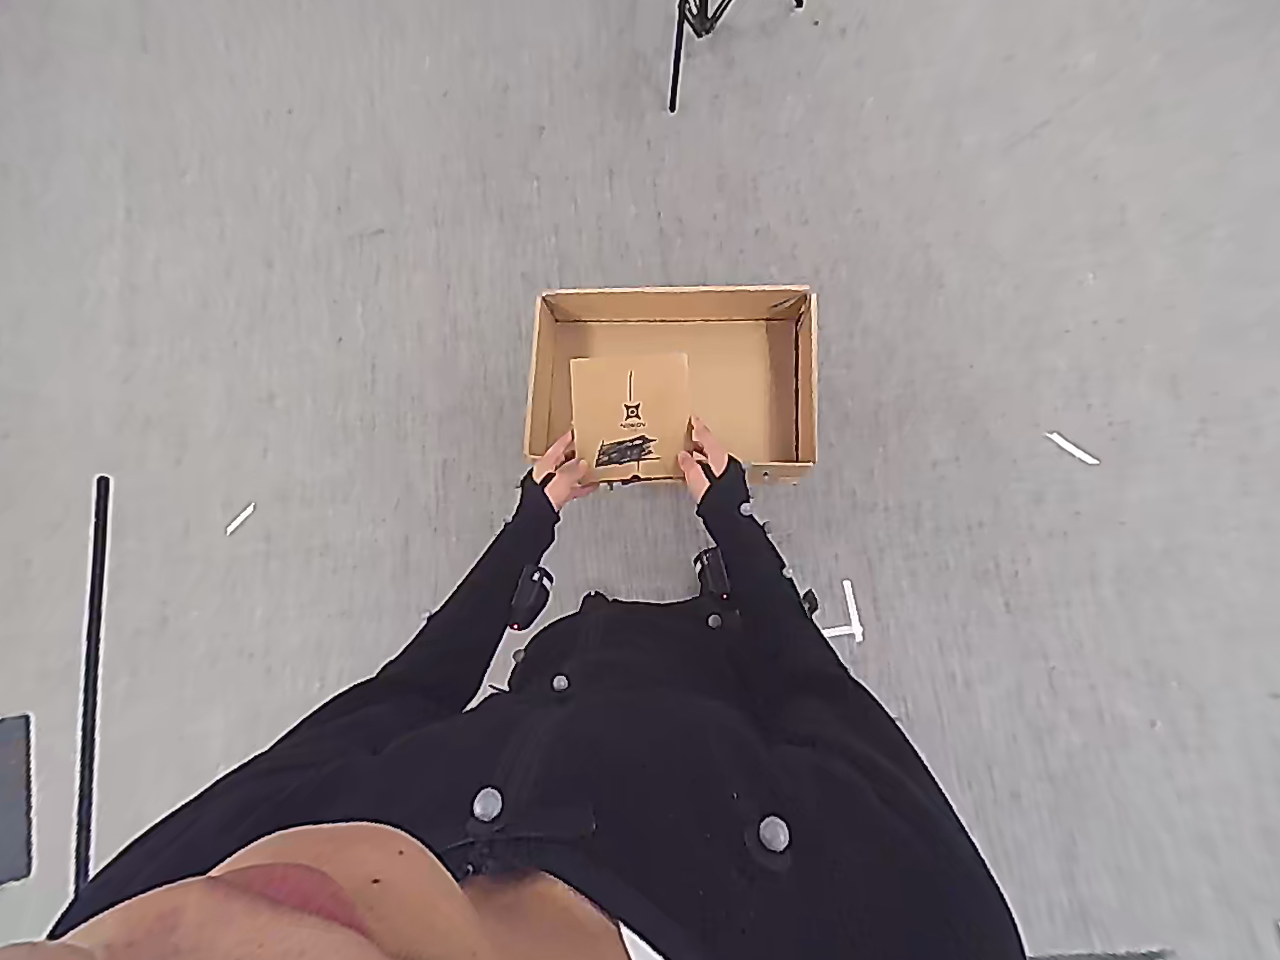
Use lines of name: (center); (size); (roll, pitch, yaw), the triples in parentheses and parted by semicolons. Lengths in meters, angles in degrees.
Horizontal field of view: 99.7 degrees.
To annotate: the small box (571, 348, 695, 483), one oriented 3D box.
small box: (-0.005, -0.088, 0.811); (0.168, 0.176, 0.179); (-4, 90, 2)
